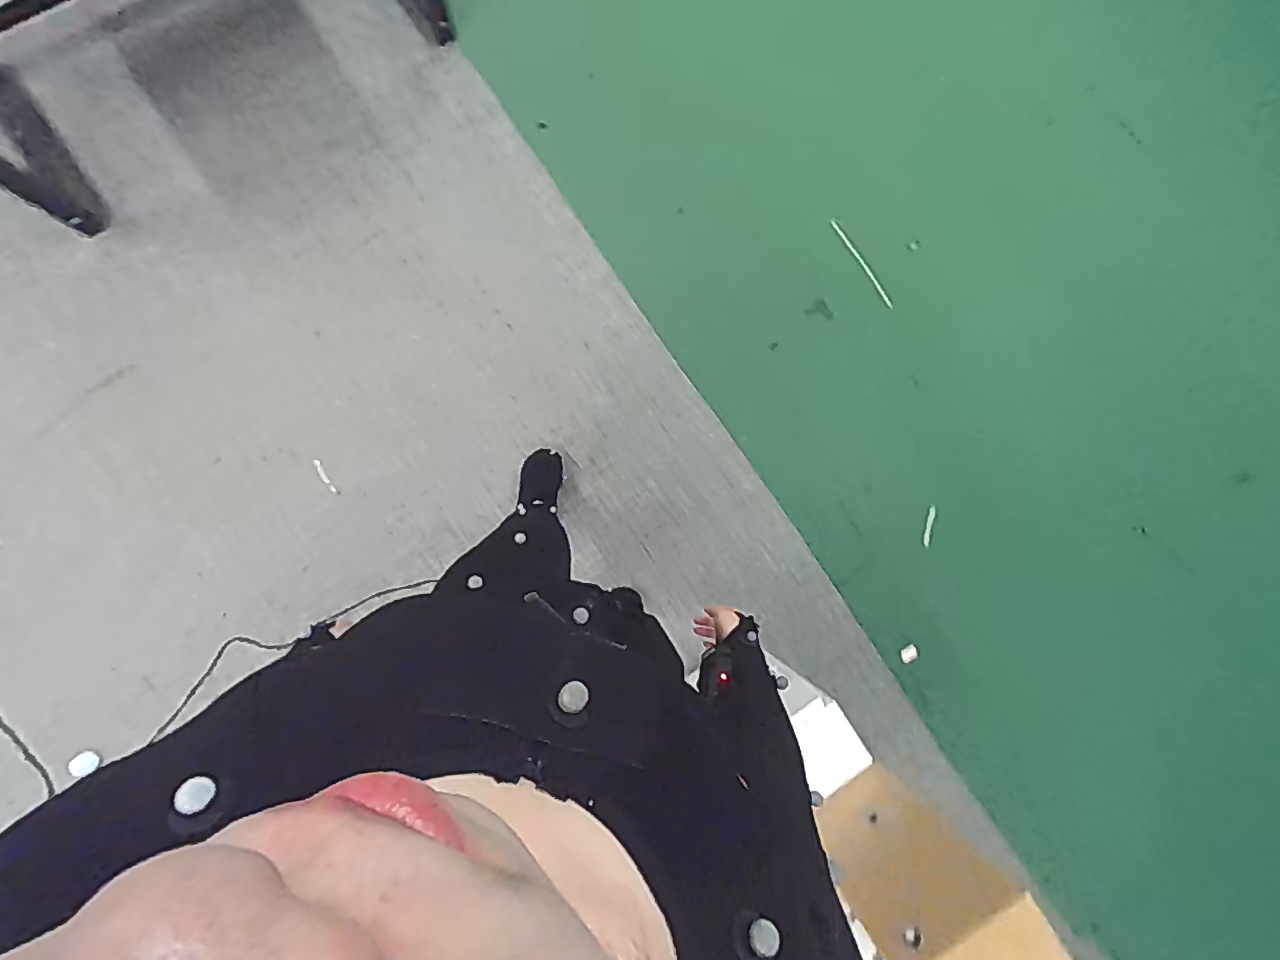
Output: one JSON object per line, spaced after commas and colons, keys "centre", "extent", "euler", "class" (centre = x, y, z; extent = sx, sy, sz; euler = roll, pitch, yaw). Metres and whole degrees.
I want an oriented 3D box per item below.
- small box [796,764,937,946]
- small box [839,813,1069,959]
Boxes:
{"centre": [0.374, 0.579, 0.829], "extent": [0.179, 0.176, 0.168], "euler": [-33, 88, -7], "class": "small box"}
{"centre": [0.385, 0.562, 0.666], "extent": [0.179, 0.176, 0.168], "euler": [-31, 88, -5], "class": "small box"}
